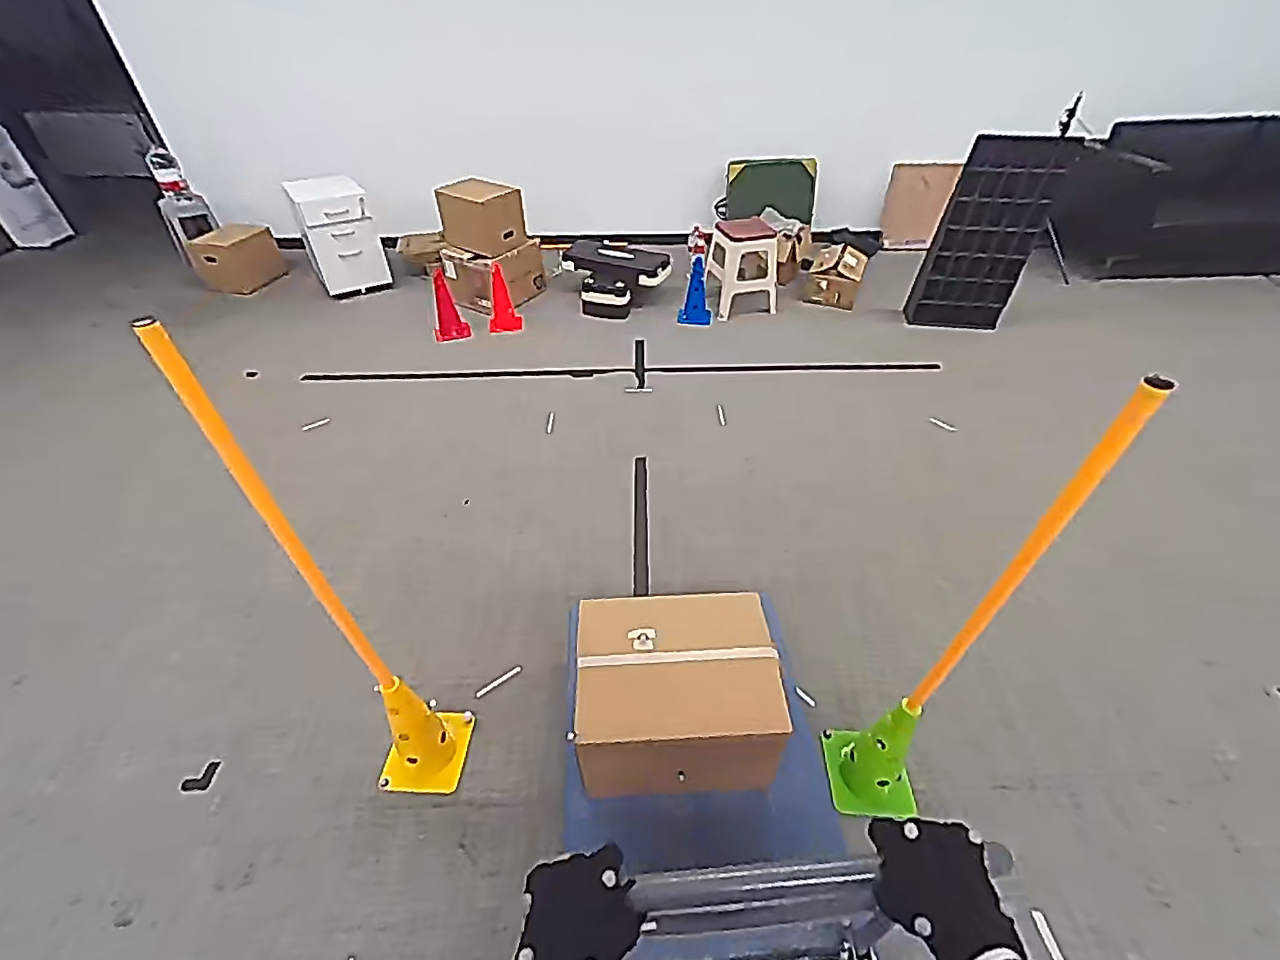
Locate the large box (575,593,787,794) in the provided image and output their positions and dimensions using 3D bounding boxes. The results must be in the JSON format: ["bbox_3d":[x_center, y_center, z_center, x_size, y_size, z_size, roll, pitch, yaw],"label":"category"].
[{"bbox_3d":[0.075,0.480,1.212,0.408,0.320,0.320,-3,43,-1],"label":"large box"}]

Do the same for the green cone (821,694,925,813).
[{"bbox_3d":[0.581,0.613,1.273,0.202,0.368,0.200,3,42,2],"label":"green cone"}]
